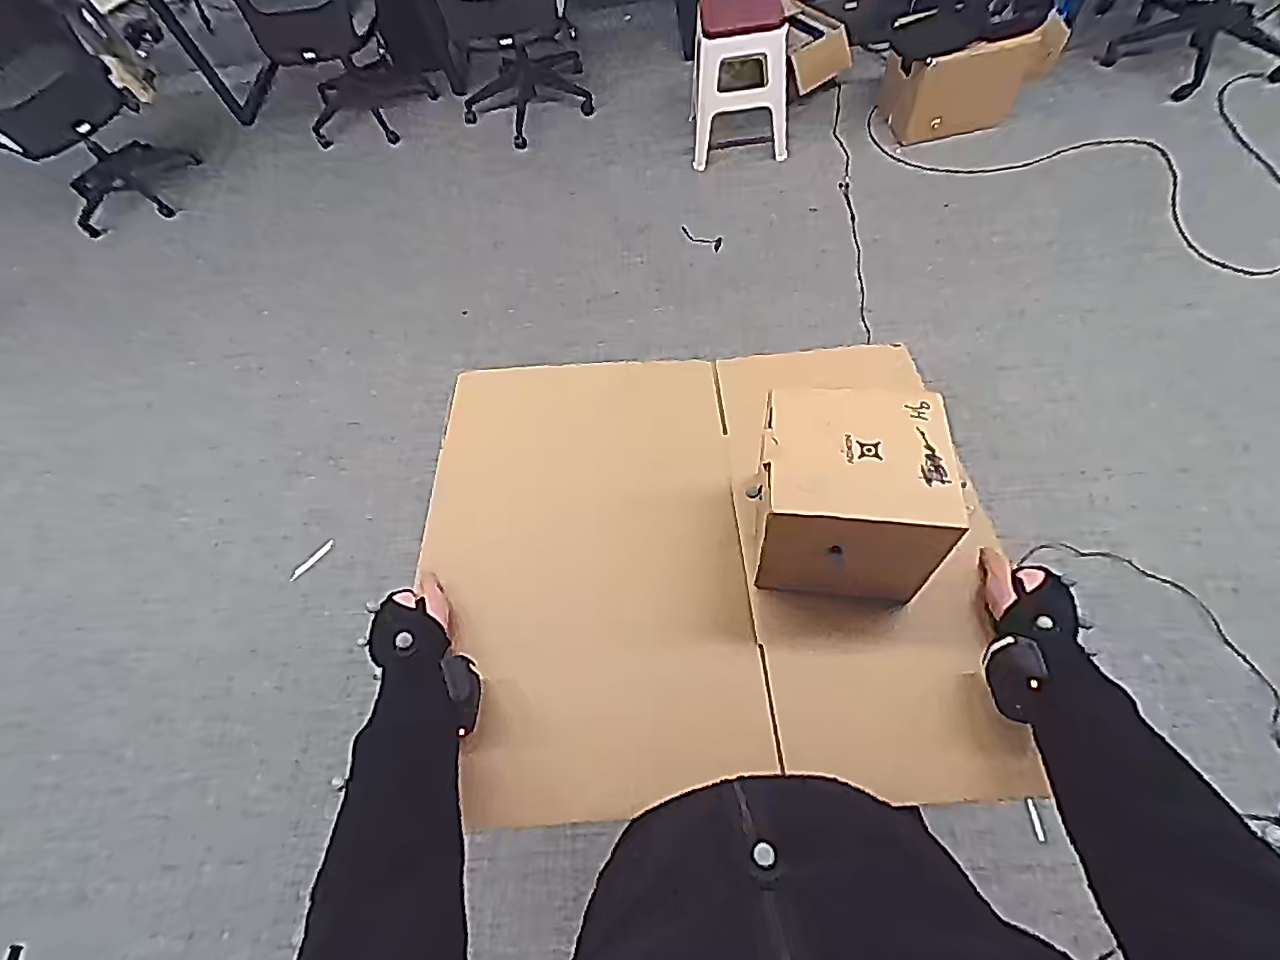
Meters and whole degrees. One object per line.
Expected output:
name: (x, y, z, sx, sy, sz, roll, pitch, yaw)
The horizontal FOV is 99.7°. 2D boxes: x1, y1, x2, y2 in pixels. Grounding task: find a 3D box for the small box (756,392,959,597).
small box: (0.224, 0.020, 0.608, 0.179, 0.176, 0.168, 4, 56, 10)
